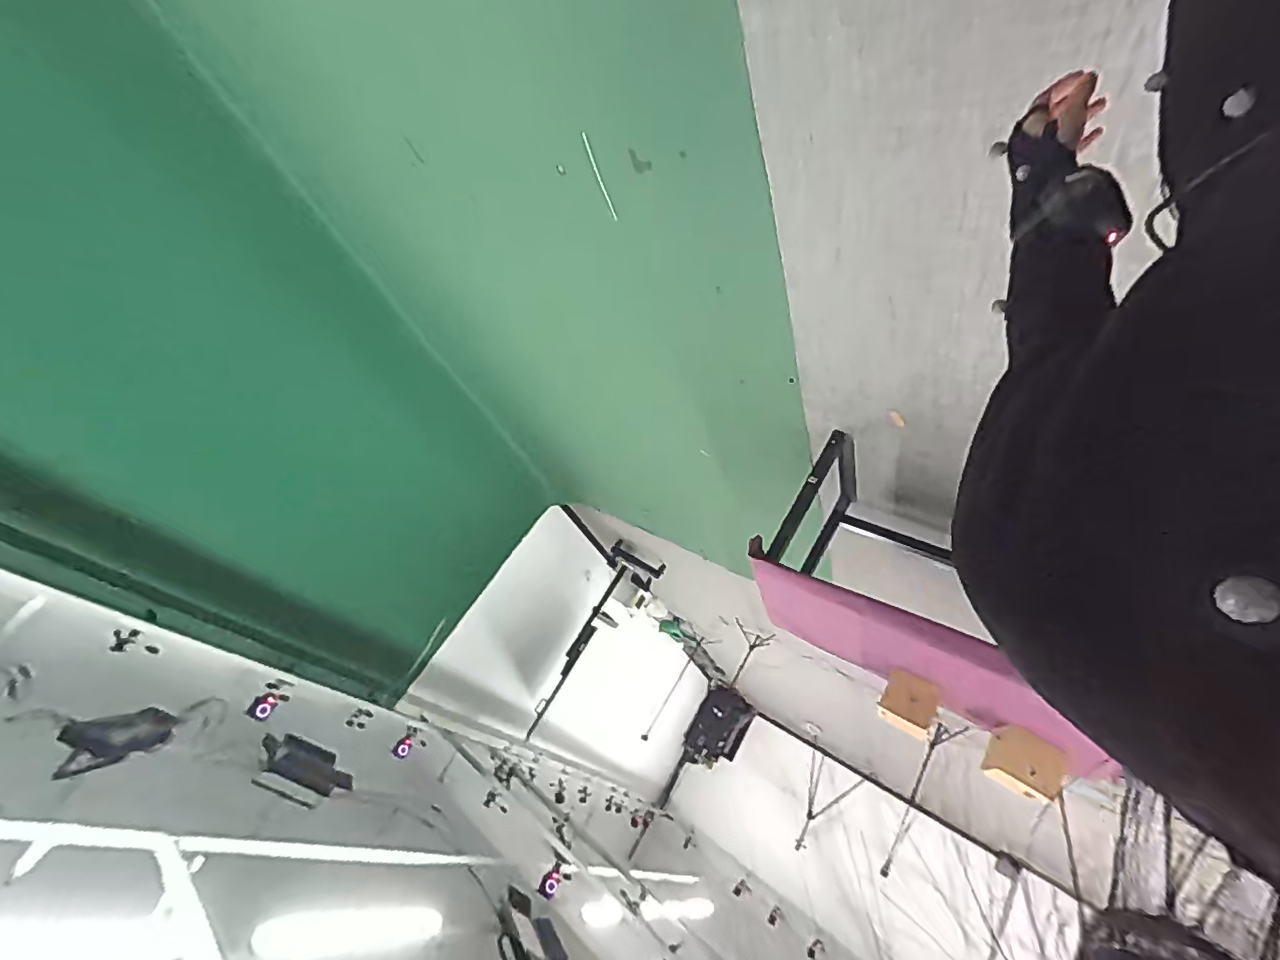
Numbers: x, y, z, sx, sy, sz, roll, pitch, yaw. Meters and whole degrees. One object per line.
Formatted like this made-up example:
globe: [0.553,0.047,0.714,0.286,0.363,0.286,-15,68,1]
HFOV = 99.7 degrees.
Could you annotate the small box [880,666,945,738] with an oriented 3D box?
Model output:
small box: [1.023,0.828,2.028,0.179,0.176,0.168,20,153,34]

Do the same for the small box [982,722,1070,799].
small box: [1.319,0.957,1.847,0.179,0.176,0.168,27,157,23]
